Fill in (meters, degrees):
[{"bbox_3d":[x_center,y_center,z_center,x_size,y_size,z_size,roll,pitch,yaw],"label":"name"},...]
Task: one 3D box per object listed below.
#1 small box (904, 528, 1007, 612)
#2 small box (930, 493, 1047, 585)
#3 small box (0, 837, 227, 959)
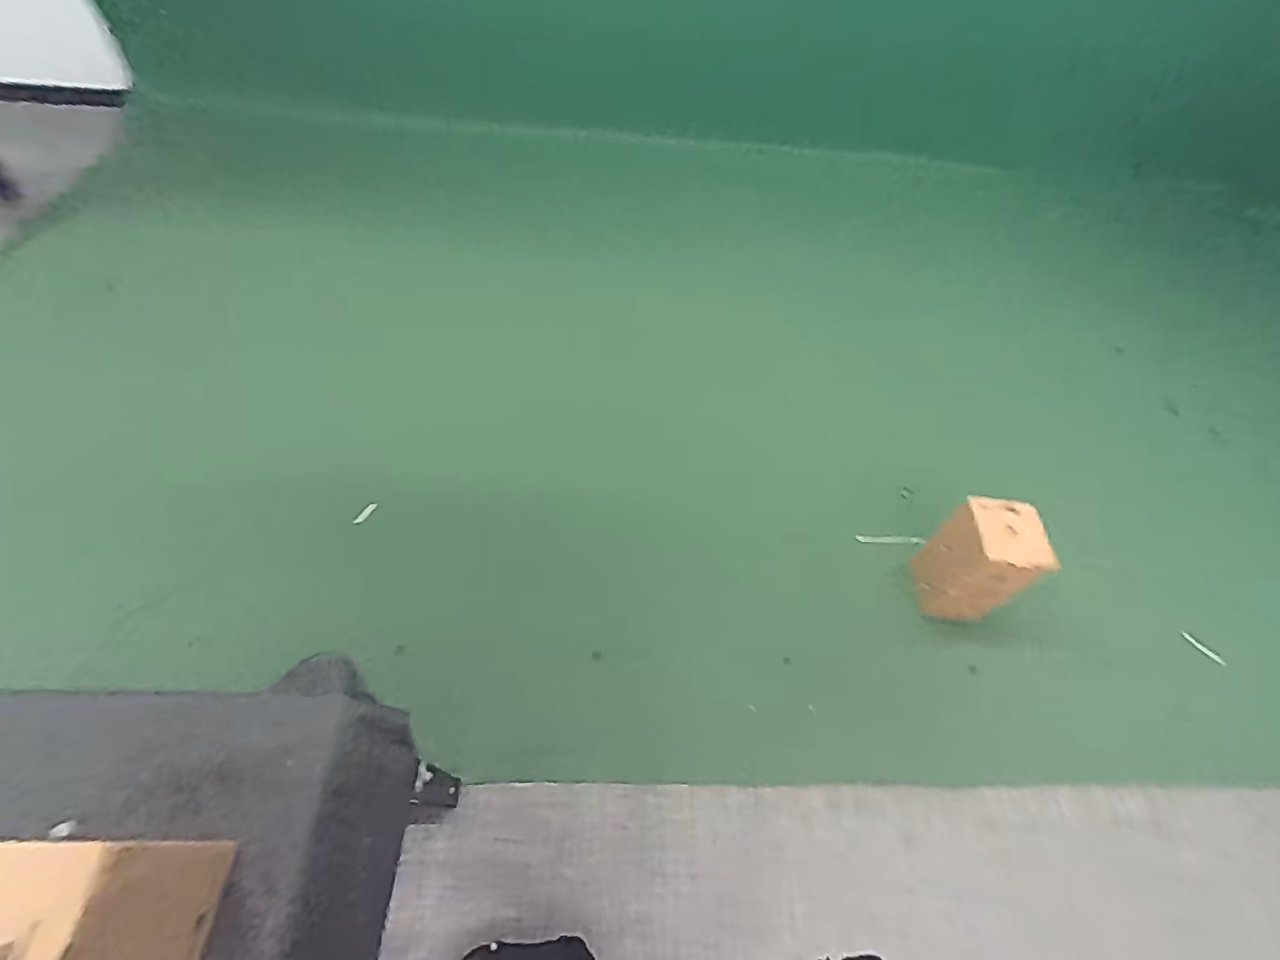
[{"bbox_3d":[0.857,0.247,1.487,0.168,0.176,0.179,9,55,-2],"label":"small box"},{"bbox_3d":[0.873,0.158,1.374,0.168,0.176,0.179,7,57,-2],"label":"small box"},{"bbox_3d":[-0.478,0.377,0.419,0.179,0.176,0.168,1,56,-2],"label":"small box"}]
